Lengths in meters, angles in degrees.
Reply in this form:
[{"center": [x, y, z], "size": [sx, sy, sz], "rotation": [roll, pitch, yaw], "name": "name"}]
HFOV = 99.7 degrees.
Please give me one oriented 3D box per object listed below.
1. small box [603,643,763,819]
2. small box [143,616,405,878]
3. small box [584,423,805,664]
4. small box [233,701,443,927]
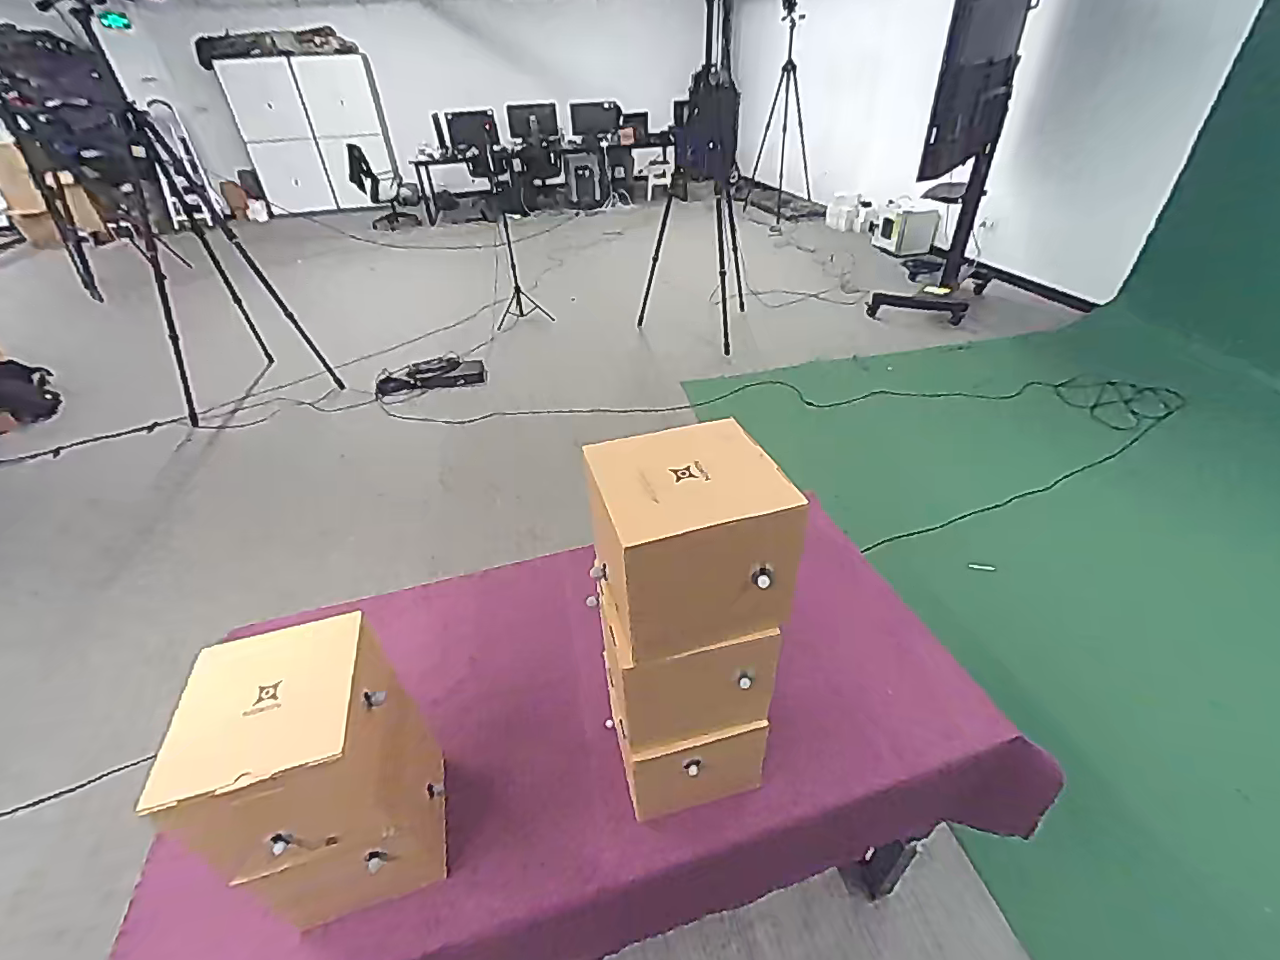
[{"center": [0.055, 0.337, 0.754], "size": [0.179, 0.176, 0.168], "rotation": [-11, 38, -10], "name": "small box"}, {"center": [-0.367, 0.283, 0.587], "size": [0.168, 0.176, 0.179], "rotation": [-12, 39, -12], "name": "small box"}, {"center": [0.046, 0.064, 0.572], "size": [0.179, 0.176, 0.168], "rotation": [-12, 37, -11], "name": "small box"}, {"center": [-0.355, 0.417, 0.681], "size": [0.179, 0.176, 0.168], "rotation": [-12, 37, -12], "name": "small box"}]
